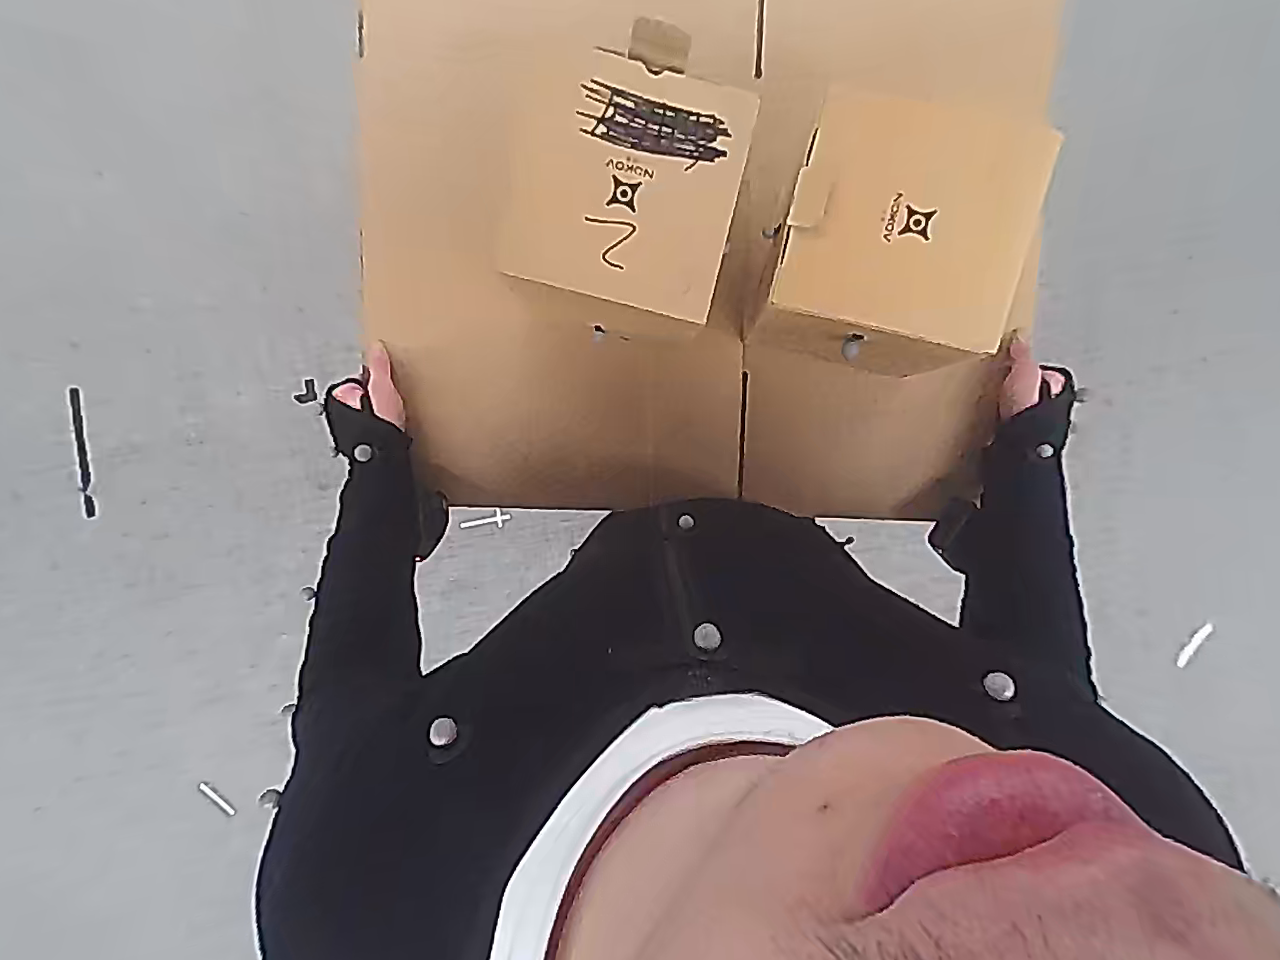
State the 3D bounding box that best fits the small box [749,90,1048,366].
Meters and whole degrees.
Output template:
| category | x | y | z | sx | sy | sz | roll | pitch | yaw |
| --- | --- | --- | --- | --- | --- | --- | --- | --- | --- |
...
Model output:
| category | x | y | z | sx | sy | sz | roll | pitch | yaw |
| --- | --- | --- | --- | --- | --- | --- | --- | --- | --- |
| small box | 0.212 | -0.208 | 0.498 | 0.179 | 0.176 | 0.168 | 14 | 95 | 4 |
